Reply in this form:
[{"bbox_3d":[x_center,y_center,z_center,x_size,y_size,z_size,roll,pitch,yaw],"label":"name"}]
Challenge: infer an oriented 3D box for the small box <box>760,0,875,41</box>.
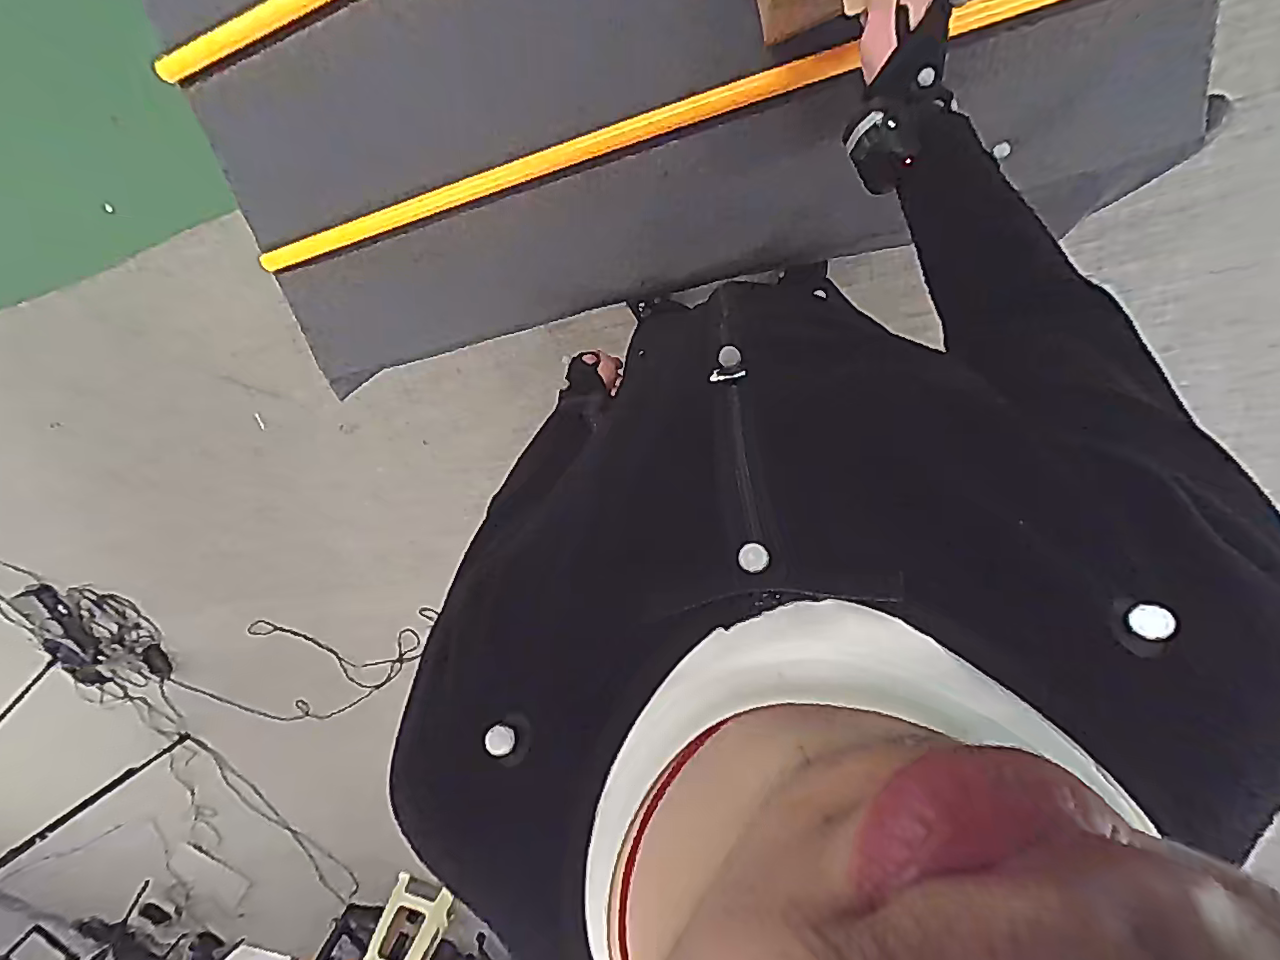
[{"bbox_3d":[0.181,-0.549,0.498,0.168,0.176,0.179,-15,111,21],"label":"small box"}]
